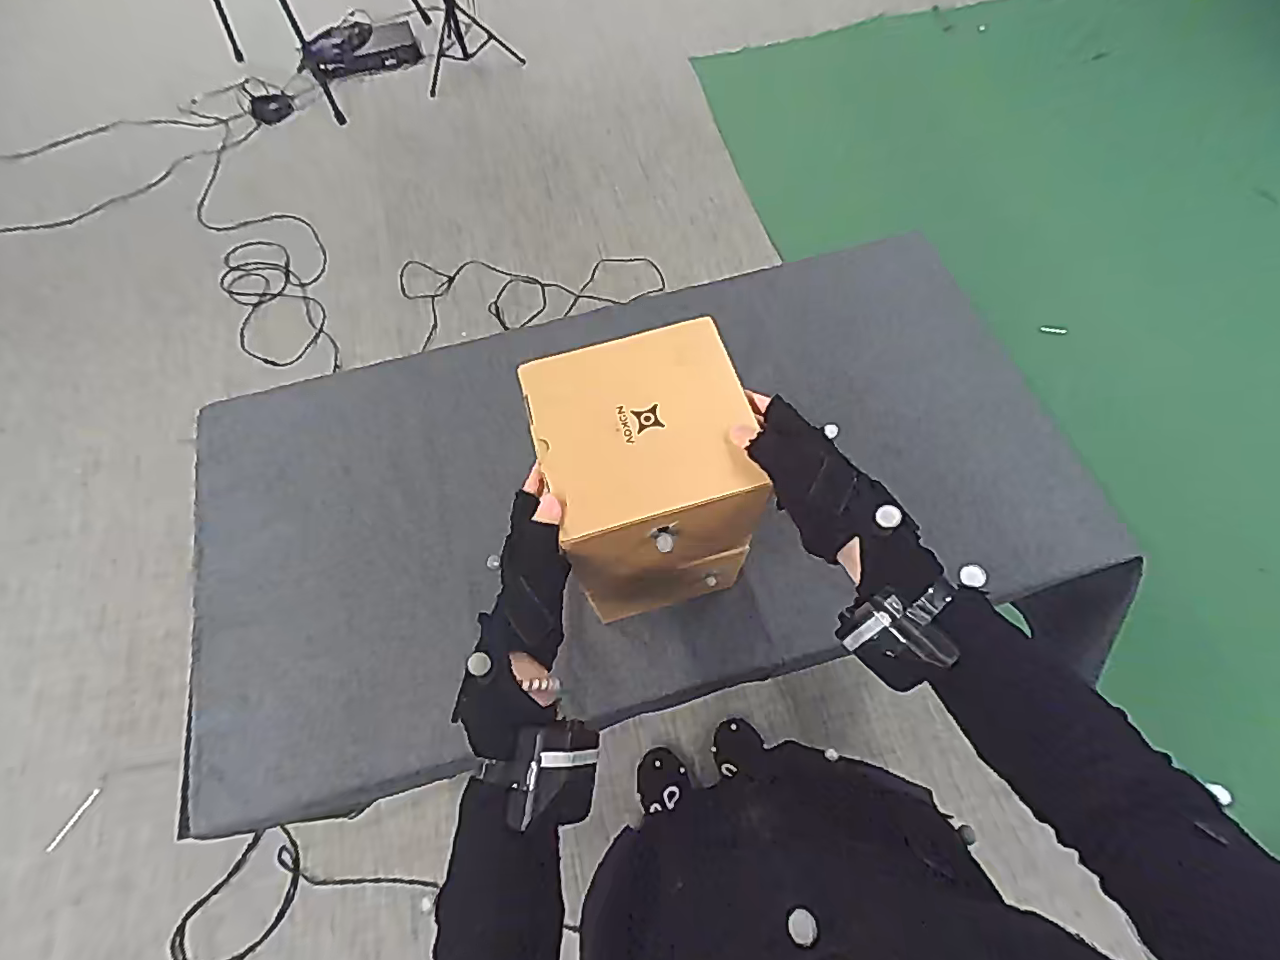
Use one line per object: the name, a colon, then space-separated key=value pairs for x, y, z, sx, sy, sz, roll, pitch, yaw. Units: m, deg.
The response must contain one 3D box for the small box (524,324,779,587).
small box: x=0.006 y=-0.013 z=0.511 sx=0.179 sy=0.176 sz=0.168 roll=-16 pitch=66 yaw=-5
